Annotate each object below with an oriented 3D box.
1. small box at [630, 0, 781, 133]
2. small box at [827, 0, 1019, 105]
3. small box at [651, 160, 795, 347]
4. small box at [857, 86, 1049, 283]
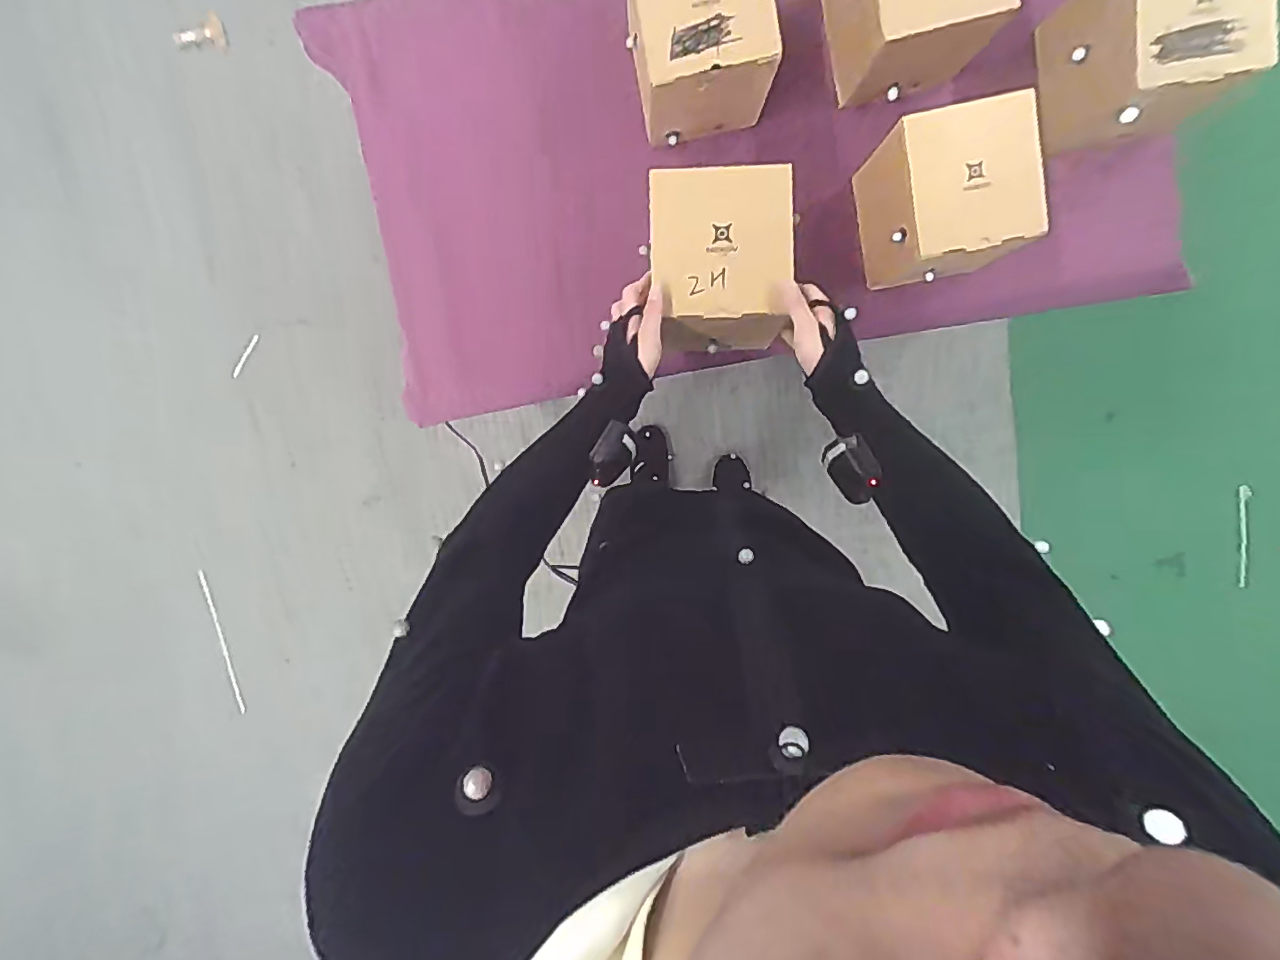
[{"bbox_3d":[0.080,-0.601,0.728,0.168,0.176,0.179,-11,97,2],"label":"small box"},{"bbox_3d":[0.361,-0.650,0.720,0.168,0.176,0.179,-12,99,3],"label":"small box"},{"bbox_3d":[0.097,-0.278,0.698,0.168,0.176,0.179,0,91,3],"label":"small box"},{"bbox_3d":[0.421,-0.395,0.754,0.168,0.176,0.179,-11,97,2],"label":"small box"}]
